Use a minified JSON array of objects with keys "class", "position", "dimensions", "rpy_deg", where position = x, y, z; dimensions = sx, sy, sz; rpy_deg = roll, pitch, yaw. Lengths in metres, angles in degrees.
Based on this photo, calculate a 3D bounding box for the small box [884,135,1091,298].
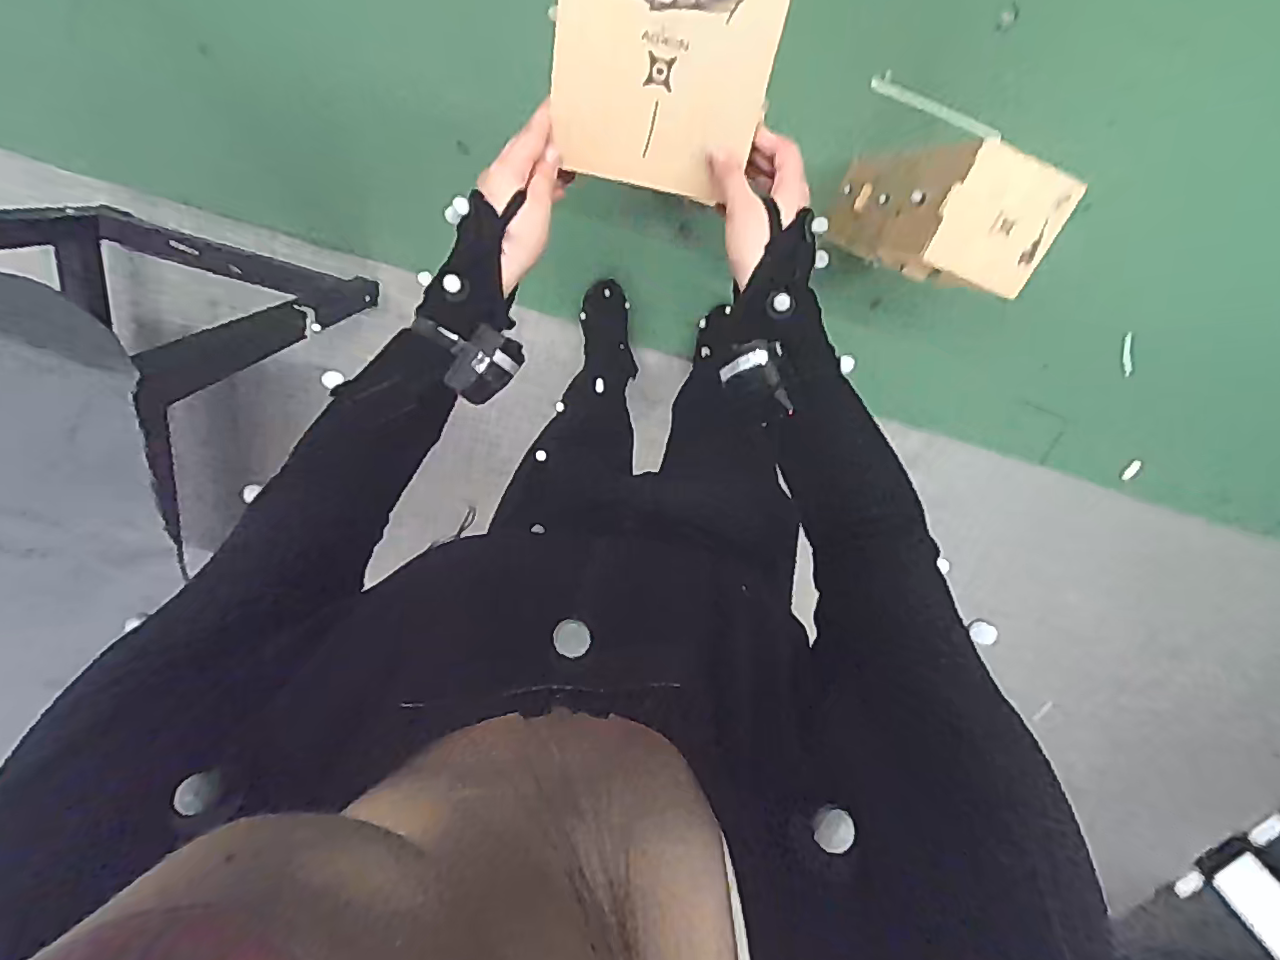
[{"class":"small box","position":[0.521,-0.406,0.845],"dimensions":[0.179,0.176,0.168],"rpy_deg":[18,116,-10]}]

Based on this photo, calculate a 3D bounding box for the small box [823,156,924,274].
[{"class":"small box","position":[0.522,-0.559,1.135],"dimensions":[0.179,0.176,0.168],"rpy_deg":[19,117,-12]}]

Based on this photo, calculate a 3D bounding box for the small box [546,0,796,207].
[{"class":"small box","position":[0.020,-0.355,0.461],"dimensions":[0.168,0.176,0.179],"rpy_deg":[9,125,-5]}]
